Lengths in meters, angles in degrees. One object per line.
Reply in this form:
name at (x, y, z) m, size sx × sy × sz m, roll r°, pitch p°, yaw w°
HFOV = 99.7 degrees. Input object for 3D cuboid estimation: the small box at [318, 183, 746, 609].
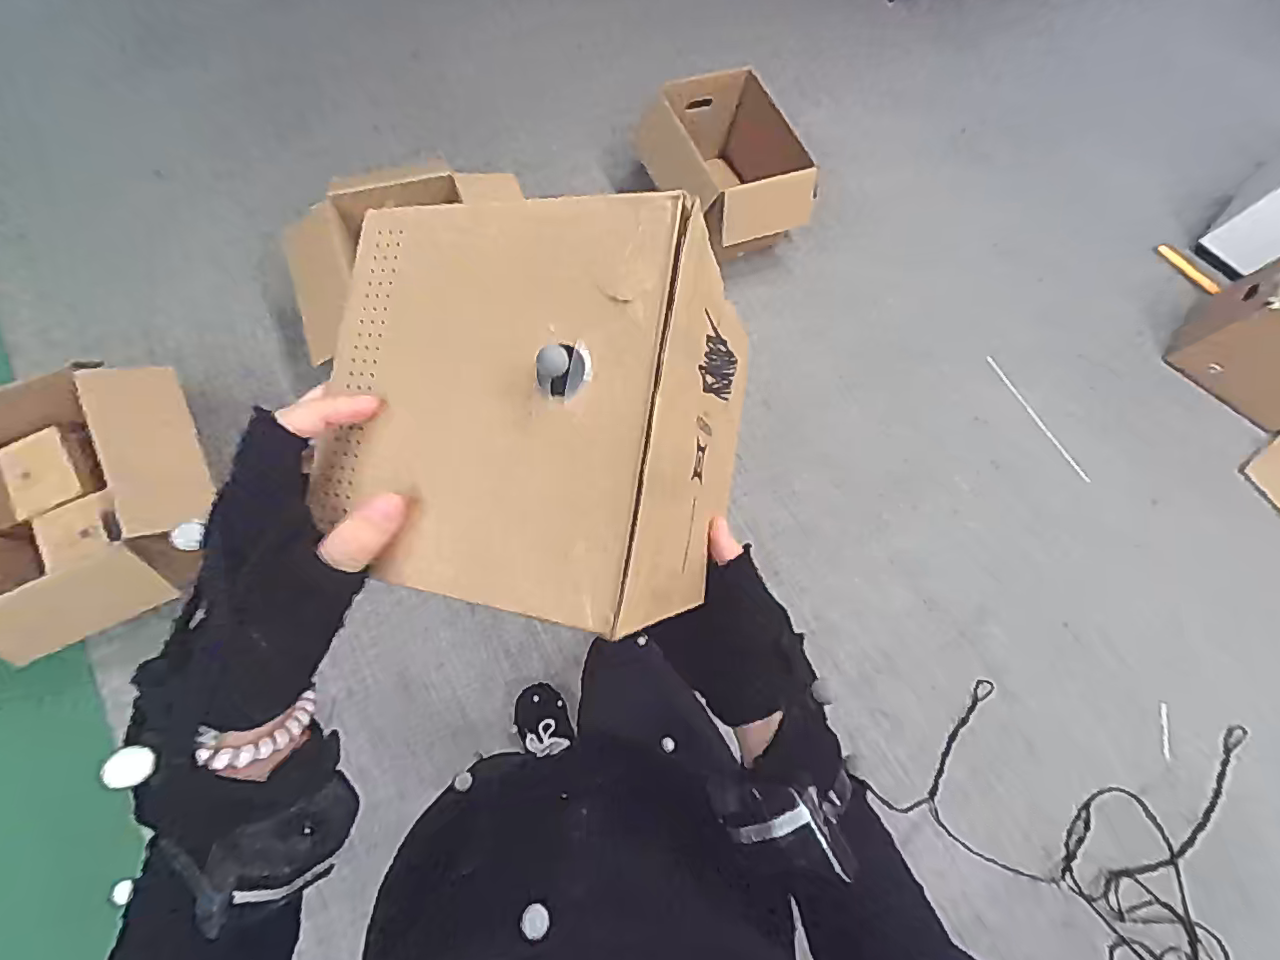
small box at (-0.042, -0.034, 0.306) m, size 0.176 × 0.168 × 0.179 m, roll 8°, pitch 84°, yaw 19°
